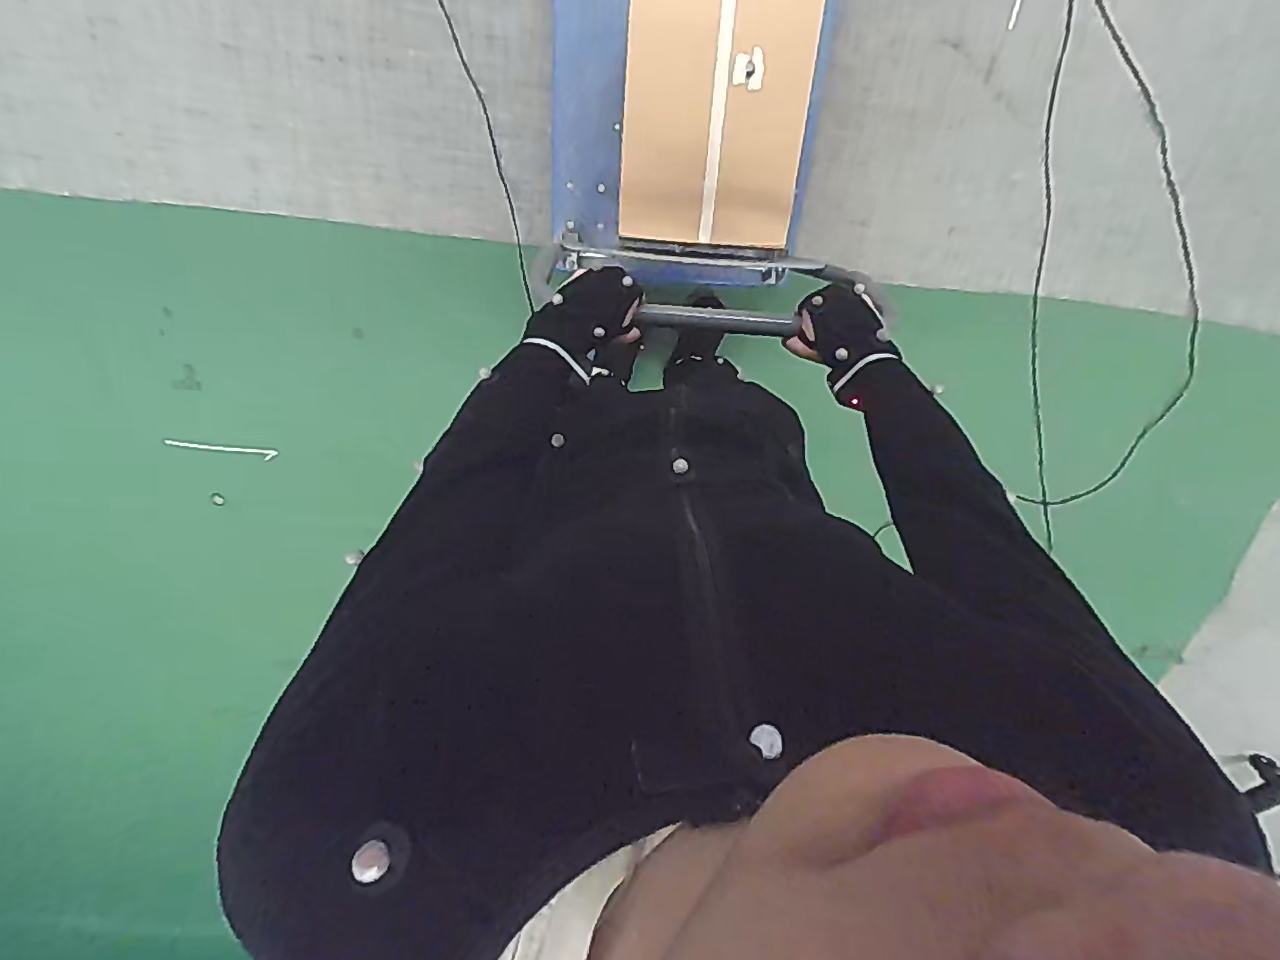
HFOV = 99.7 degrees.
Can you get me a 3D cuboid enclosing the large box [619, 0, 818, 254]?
[{"bbox_3d":[0.122,-0.670,1.065,0.320,0.320,0.408,2,112,-4],"label":"large box"}]
